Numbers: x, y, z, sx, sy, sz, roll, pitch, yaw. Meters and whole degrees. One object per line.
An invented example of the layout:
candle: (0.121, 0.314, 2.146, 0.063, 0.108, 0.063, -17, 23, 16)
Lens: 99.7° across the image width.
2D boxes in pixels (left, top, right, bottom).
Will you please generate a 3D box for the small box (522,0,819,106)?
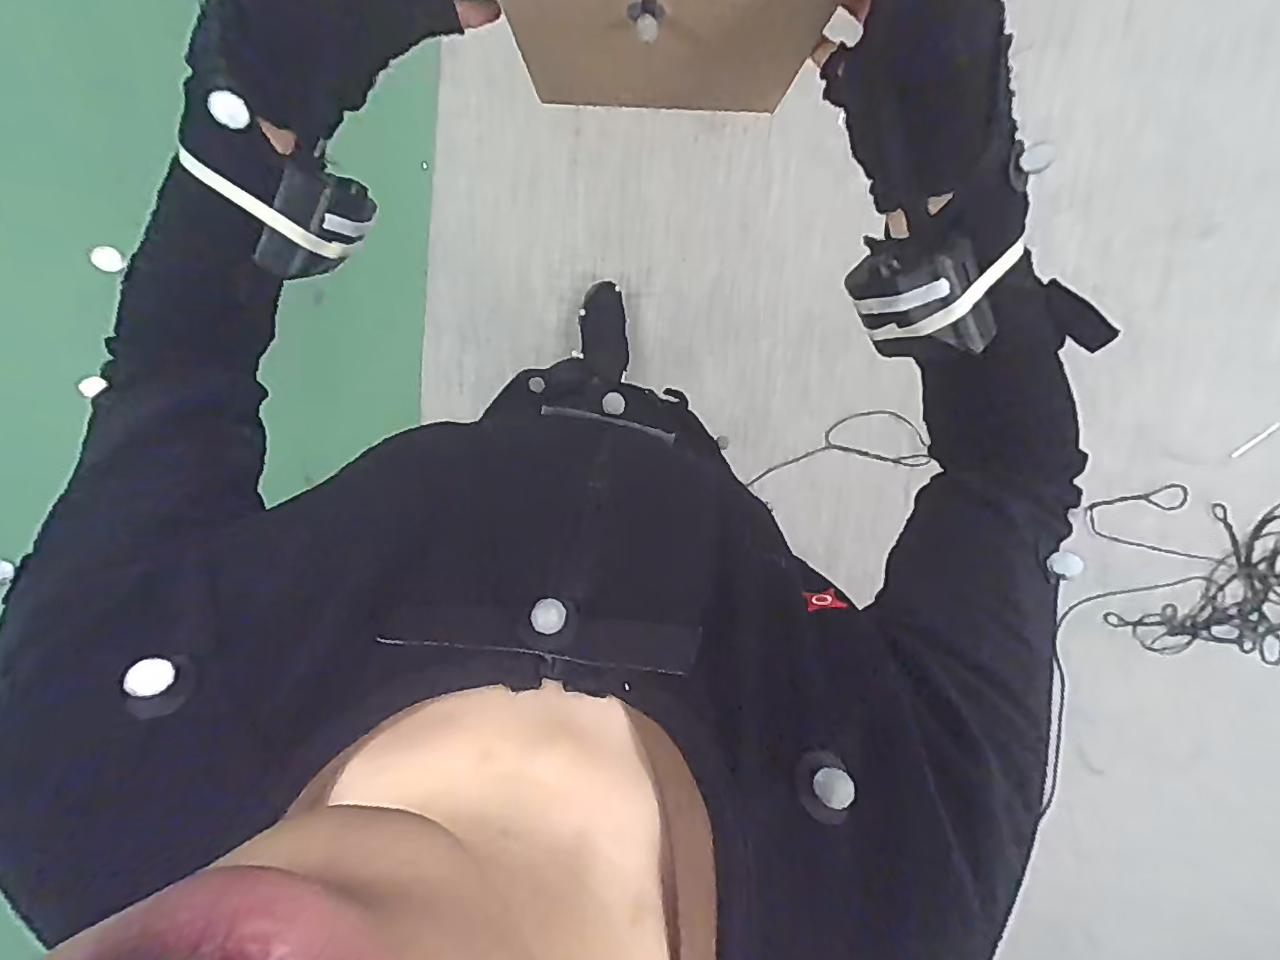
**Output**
small box: (0.018, -0.340, 0.307, 0.179, 0.176, 0.168, 2, 105, -1)
